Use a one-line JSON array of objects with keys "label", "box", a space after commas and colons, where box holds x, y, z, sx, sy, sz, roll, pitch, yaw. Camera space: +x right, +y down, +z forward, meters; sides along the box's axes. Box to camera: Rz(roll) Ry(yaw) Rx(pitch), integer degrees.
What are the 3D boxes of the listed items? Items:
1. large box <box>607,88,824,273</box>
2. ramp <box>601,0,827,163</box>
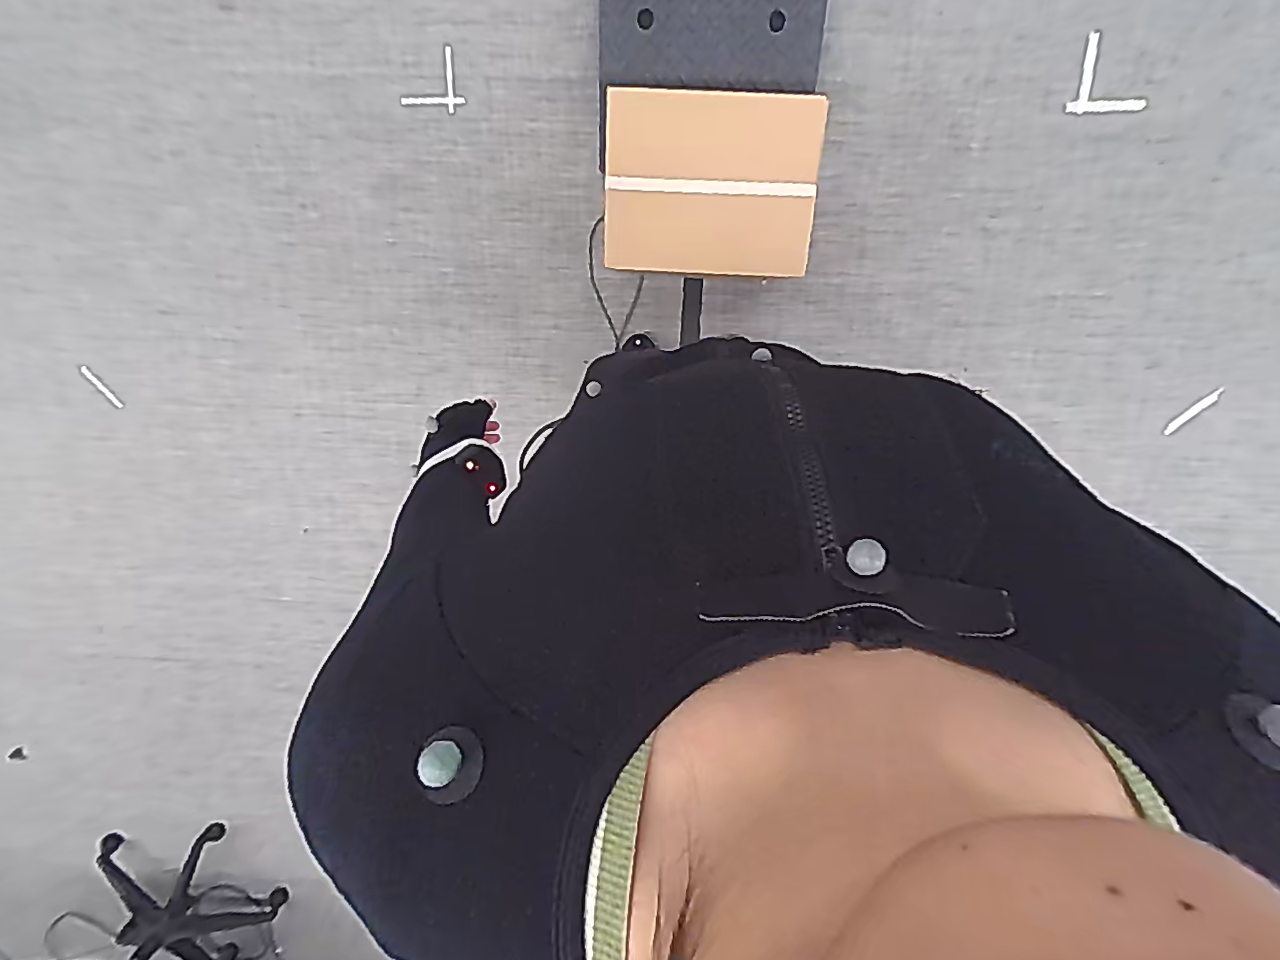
[{"label": "large box", "box": [0.143, -0.623, 1.182, 0.408, 0.320, 0.320, 3, 109, 1]}, {"label": "ramp", "box": [0.165, -1.205, 1.088, 0.509, 0.206, 0.991, 0, 106, 1]}]
